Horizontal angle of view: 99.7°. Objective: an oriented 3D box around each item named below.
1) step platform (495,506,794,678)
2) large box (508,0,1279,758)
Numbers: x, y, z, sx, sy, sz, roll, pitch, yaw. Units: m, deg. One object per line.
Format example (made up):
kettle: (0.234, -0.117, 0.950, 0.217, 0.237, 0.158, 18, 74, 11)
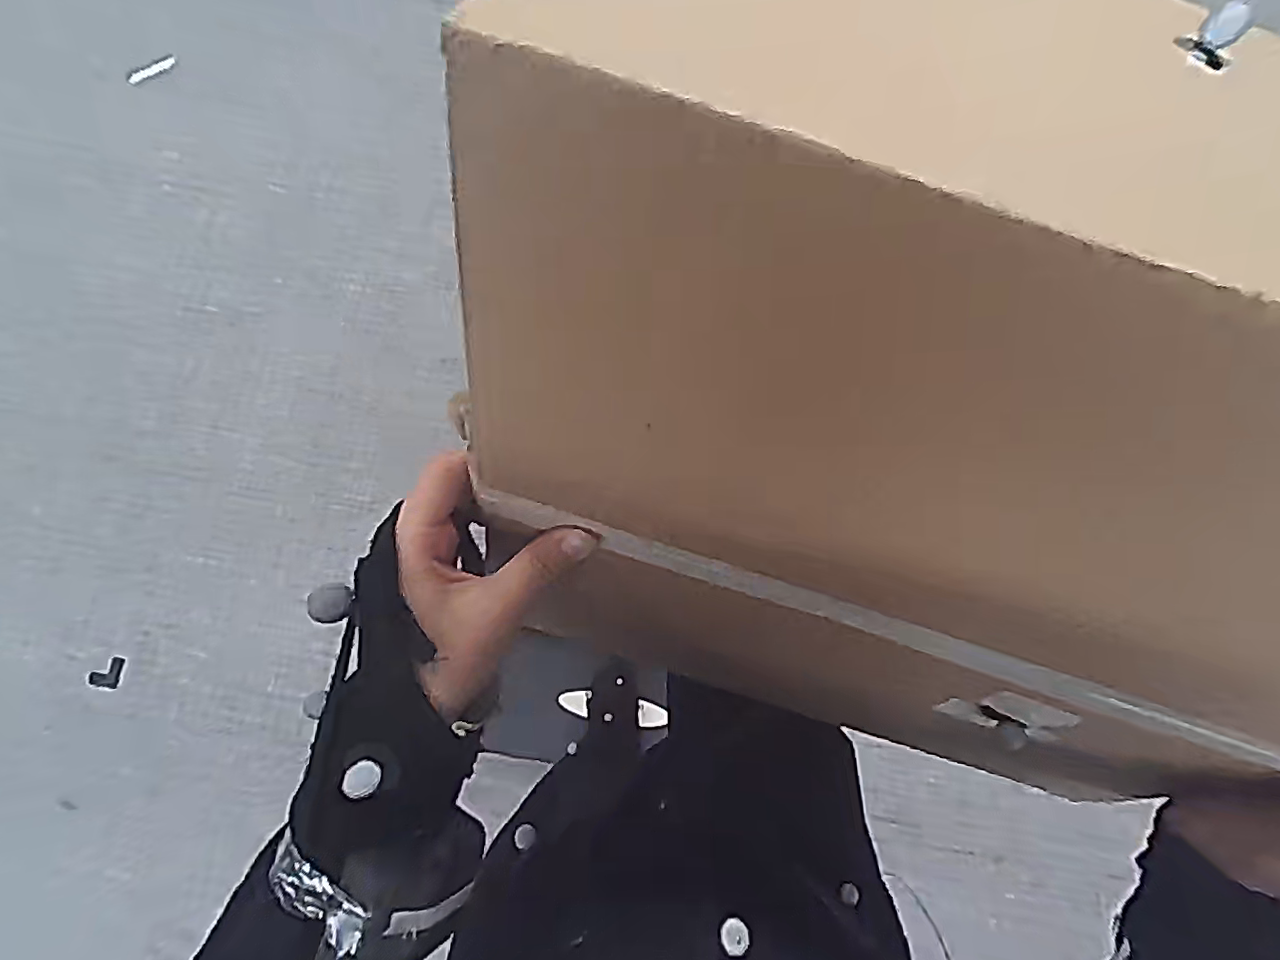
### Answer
step platform: (0.034, 0.204, 1.201, 0.684, 0.204, 0.286, 16, 82, 0)
large box: (0.171, -0.081, 0.303, 0.408, 0.320, 0.320, 17, 56, -2)
